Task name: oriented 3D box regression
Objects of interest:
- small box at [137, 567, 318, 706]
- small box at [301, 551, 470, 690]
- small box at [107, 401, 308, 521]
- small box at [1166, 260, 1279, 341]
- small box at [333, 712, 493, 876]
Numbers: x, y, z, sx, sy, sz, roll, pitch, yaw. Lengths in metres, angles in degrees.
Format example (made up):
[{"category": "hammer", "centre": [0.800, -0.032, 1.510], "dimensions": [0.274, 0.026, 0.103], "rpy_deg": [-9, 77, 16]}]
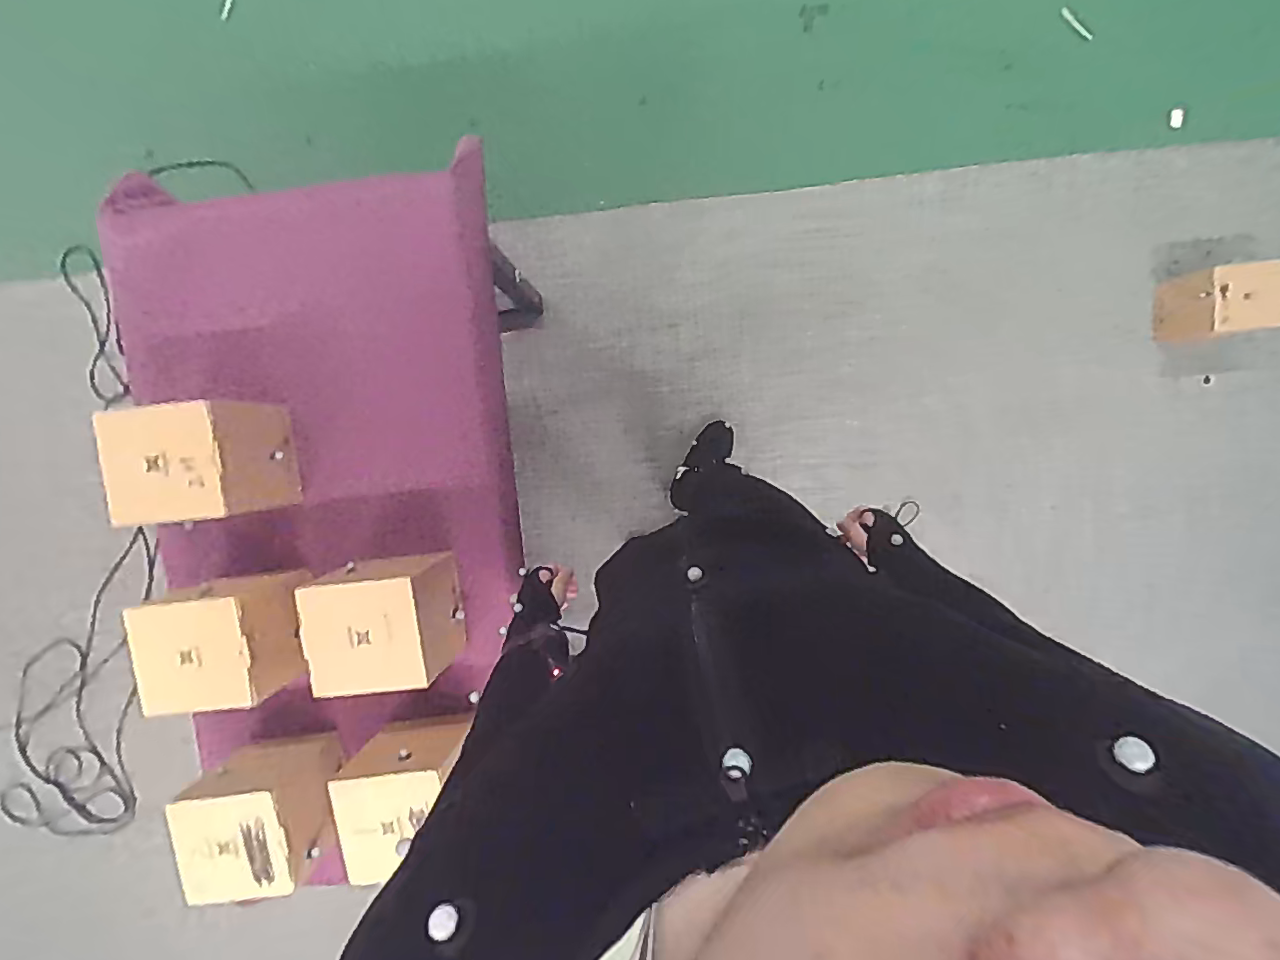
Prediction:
[{"category": "small box", "centre": [-0.653, 0.248, 0.886], "dimensions": [0.179, 0.176, 0.168], "rpy_deg": [-7, 94, 3]}, {"category": "small box", "centre": [-0.396, 0.217, 0.866], "dimensions": [0.179, 0.176, 0.168], "rpy_deg": [-6, 95, 4]}, {"category": "small box", "centre": [-0.675, -0.032, 0.862], "dimensions": [0.179, 0.176, 0.168], "rpy_deg": [-5, 95, 4]}, {"category": "small box", "centre": [1.542, -0.463, 1.410], "dimensions": [0.179, 0.176, 0.168], "rpy_deg": [-4, 94, 3]}, {"category": "small box", "centre": [-0.355, 0.500, 0.883], "dimensions": [0.179, 0.176, 0.168], "rpy_deg": [-9, 94, 7]}]
